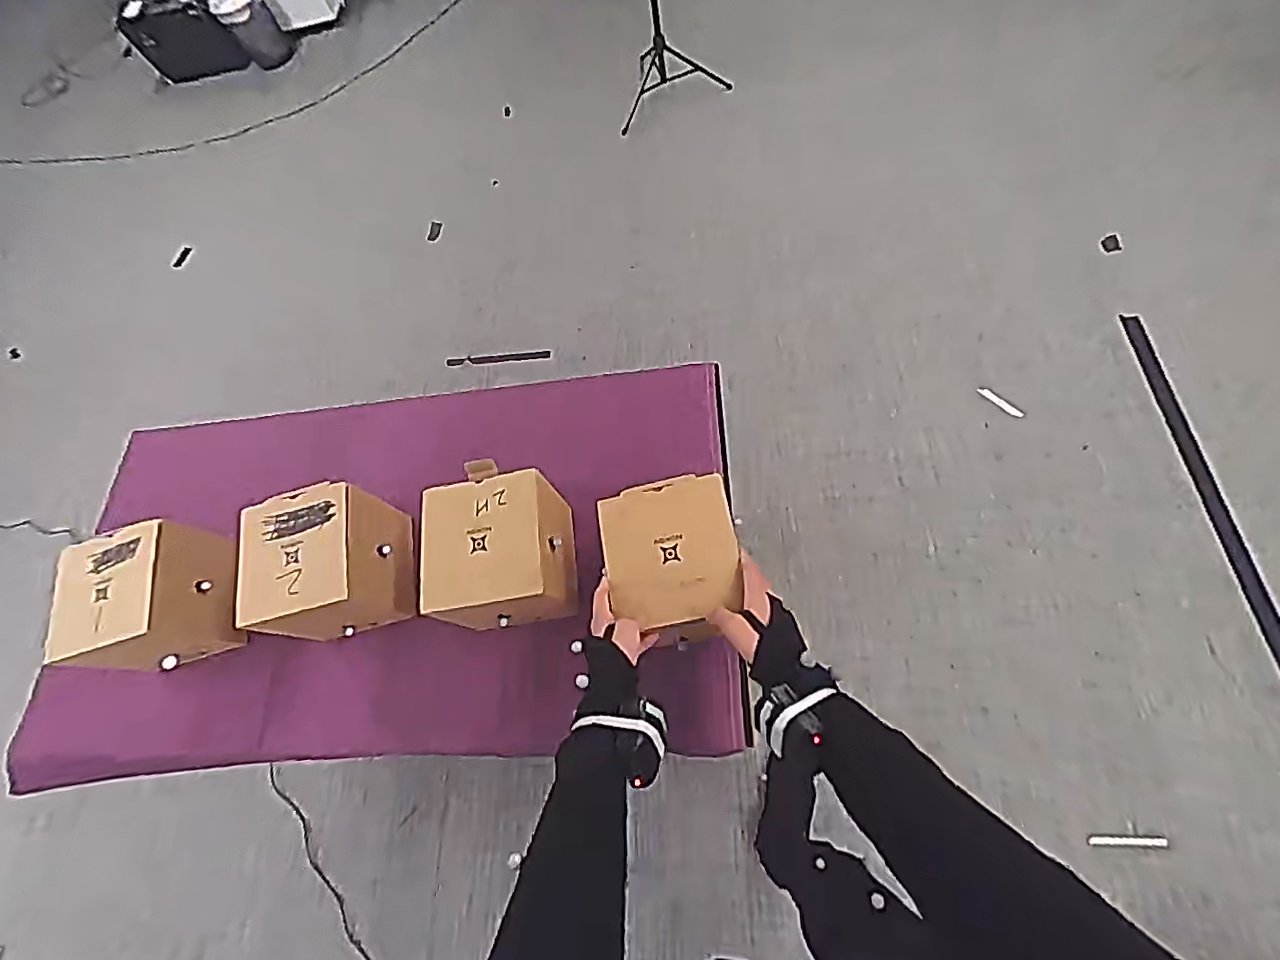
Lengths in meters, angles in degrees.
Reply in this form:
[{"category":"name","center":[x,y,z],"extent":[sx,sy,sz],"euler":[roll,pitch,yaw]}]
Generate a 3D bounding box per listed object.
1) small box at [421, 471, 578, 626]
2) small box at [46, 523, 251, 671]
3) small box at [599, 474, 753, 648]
[{"category":"small box","center":[-0.193,0.110,0.781],"extent":[0.168,0.176,0.179],"euler":[-11,66,6]},{"category":"small box","center":[-0.756,0.192,0.855],"extent":[0.168,0.176,0.179],"euler":[-17,66,4]},{"category":"small box","center":[0.052,0.116,0.730],"extent":[0.168,0.176,0.179],"euler":[-13,65,7]}]
